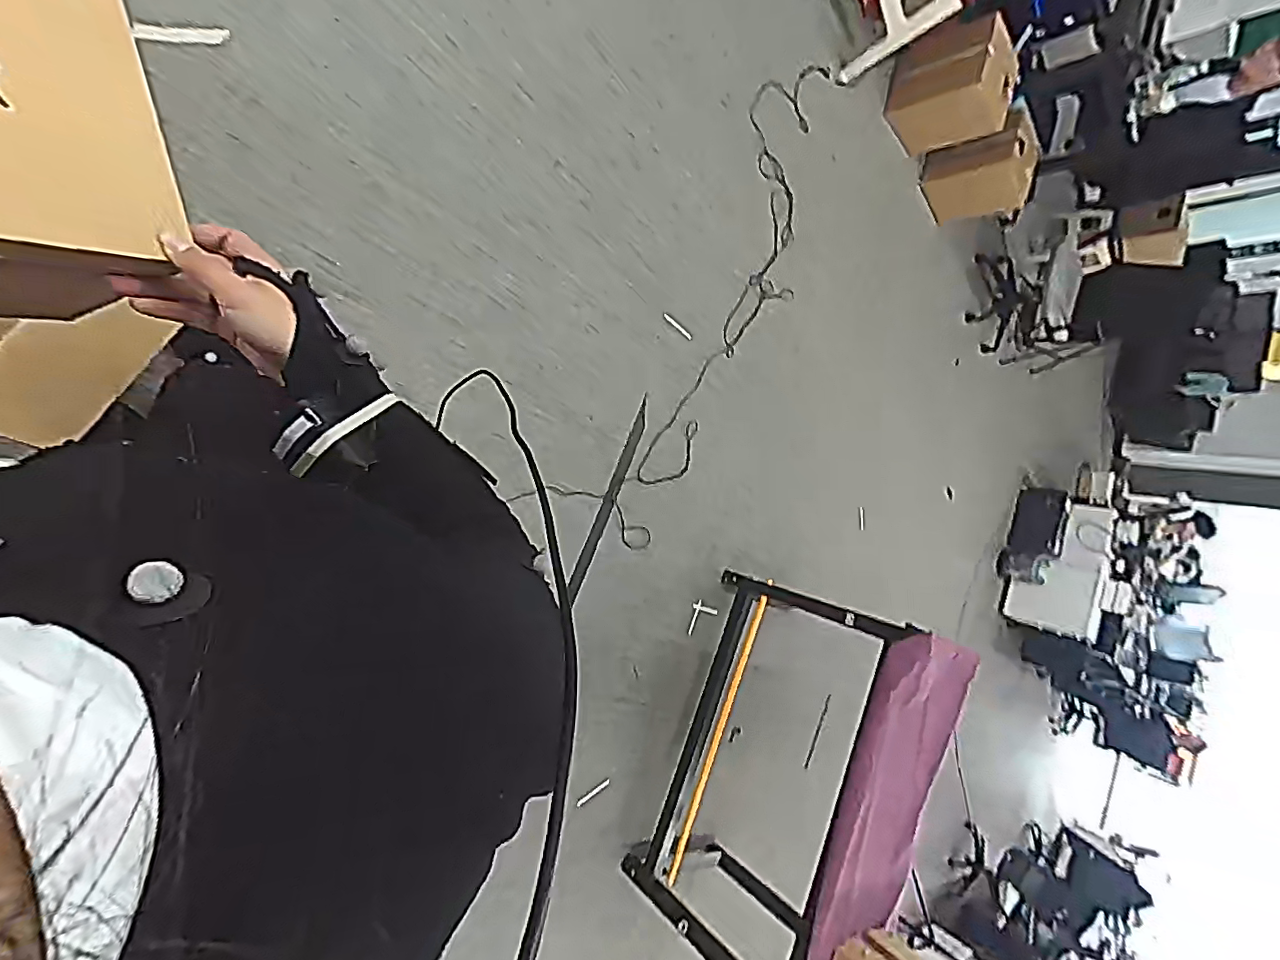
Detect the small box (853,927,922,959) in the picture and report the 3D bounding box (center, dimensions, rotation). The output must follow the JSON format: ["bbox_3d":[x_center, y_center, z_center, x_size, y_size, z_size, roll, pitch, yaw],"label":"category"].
[{"bbox_3d":[0.748,1.529,1.674,0.168,0.176,0.179,35,75,-37],"label":"small box"}]

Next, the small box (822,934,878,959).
[{"bbox_3d":[0.613,1.458,1.544,0.168,0.176,0.179,31,76,-42],"label":"small box"}]

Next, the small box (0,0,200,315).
[{"bbox_3d":[-0.411,-0.194,0.303,0.179,0.176,0.168,-29,111,-65],"label":"small box"}]
